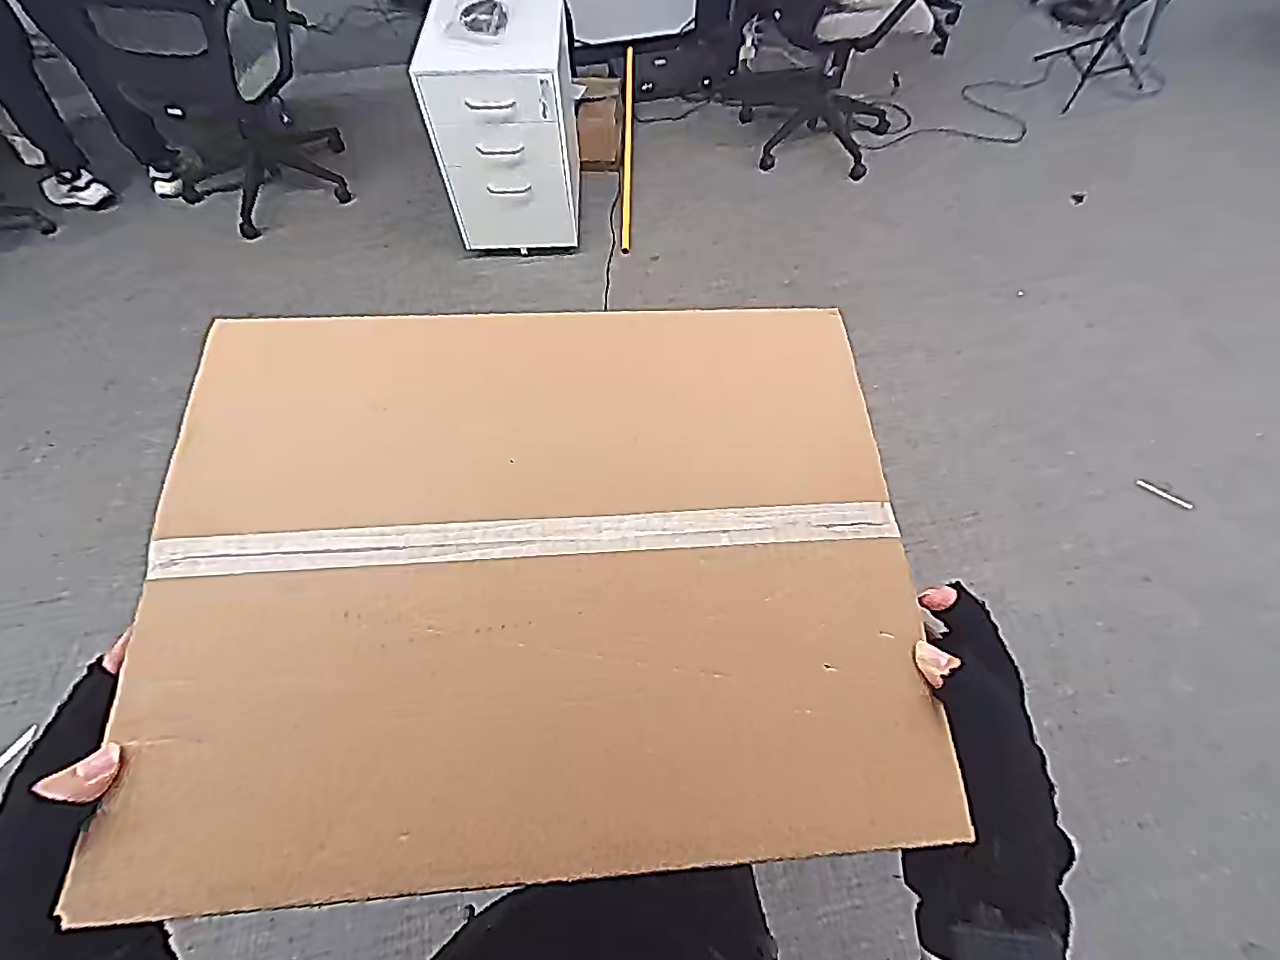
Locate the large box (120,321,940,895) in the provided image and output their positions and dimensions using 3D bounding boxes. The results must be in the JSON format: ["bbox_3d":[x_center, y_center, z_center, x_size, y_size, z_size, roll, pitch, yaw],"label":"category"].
[{"bbox_3d":[-0.062,0.094,0.454,0.408,0.320,0.320,-3,69,-4],"label":"large box"}]
